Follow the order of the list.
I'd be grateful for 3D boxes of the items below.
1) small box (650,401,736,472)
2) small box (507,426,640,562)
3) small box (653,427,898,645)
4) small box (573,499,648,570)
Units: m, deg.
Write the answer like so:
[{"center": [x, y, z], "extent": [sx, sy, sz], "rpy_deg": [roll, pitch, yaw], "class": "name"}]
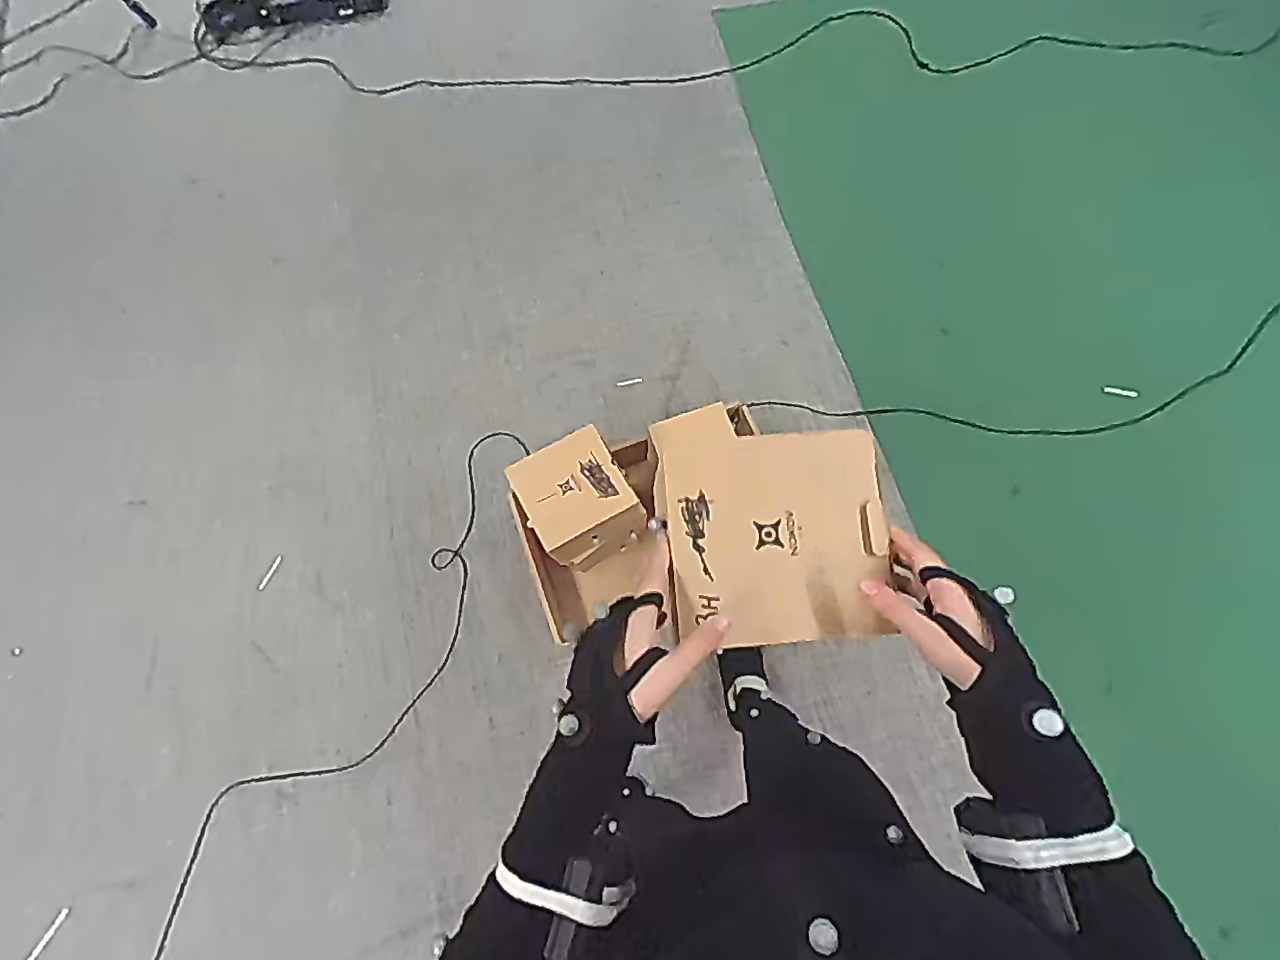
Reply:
[{"center": [0.124, -0.039, 1.164], "extent": [0.168, 0.176, 0.179], "rpy_deg": [-19, 74, -2], "class": "small box"}, {"center": [-0.115, 0.033, 0.986], "extent": [0.179, 0.176, 0.168], "rpy_deg": [-29, 76, -7], "class": "small box"}, {"center": [0.107, 0.054, 0.504], "extent": [0.179, 0.176, 0.168], "rpy_deg": [-4, 80, -1], "class": "small box"}, {"center": [-0.101, 0.070, 1.145], "extent": [0.179, 0.176, 0.168], "rpy_deg": [-36, 77, -9], "class": "small box"}]
